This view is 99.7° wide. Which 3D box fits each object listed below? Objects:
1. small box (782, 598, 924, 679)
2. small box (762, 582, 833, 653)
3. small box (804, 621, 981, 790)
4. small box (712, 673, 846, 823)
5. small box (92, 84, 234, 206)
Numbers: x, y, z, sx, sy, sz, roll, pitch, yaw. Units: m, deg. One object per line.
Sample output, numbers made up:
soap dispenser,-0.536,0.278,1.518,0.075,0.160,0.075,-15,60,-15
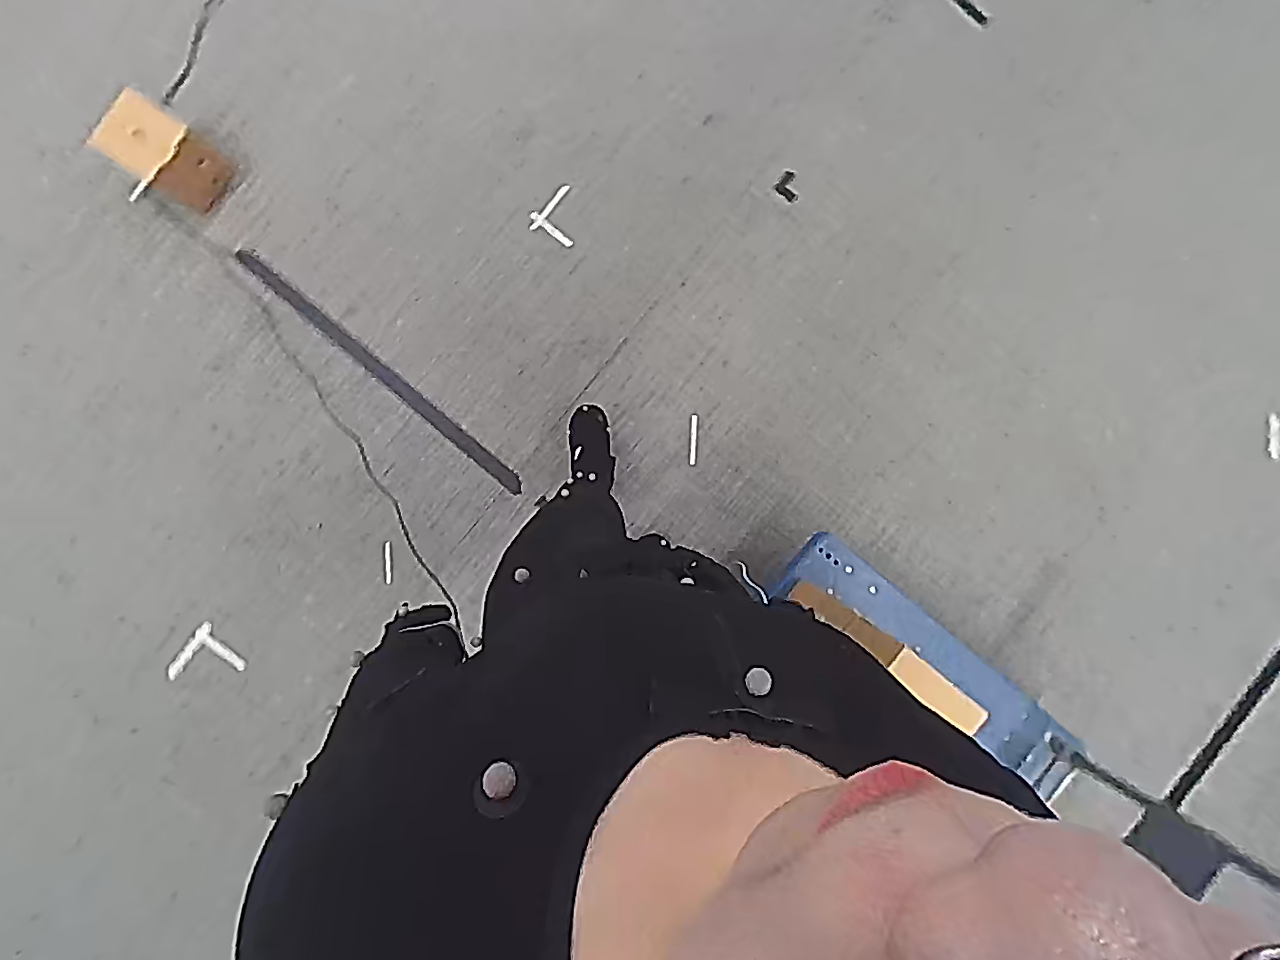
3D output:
small box,0.414,0.356,1.084,0.179,0.176,0.168,37,90,-1
small box,0.410,0.355,1.248,0.179,0.176,0.168,39,90,-2
small box,0.416,0.368,0.921,0.179,0.176,0.168,39,90,-2
small box,0.267,0.521,1.082,0.179,0.176,0.168,42,89,-1
small box,-1.198,-0.836,1.375,0.179,0.176,0.168,35,89,-1
